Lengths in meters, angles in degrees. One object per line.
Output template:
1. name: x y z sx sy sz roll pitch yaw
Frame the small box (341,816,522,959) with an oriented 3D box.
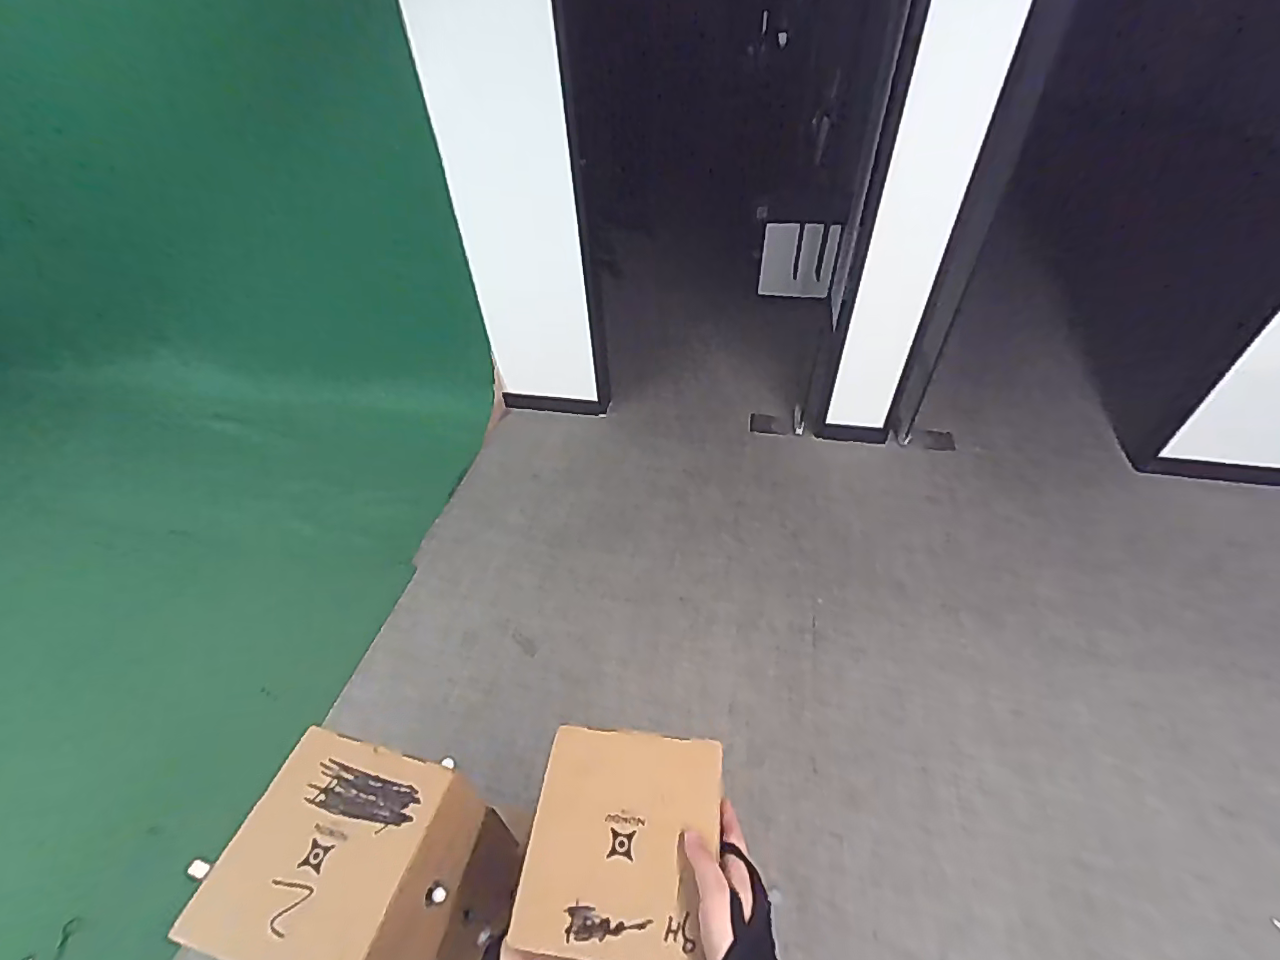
1. small box: -0.272 0.612 0.762 0.168 0.176 0.179 9 46 10

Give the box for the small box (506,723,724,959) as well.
1. small box: -0.006 0.365 0.523 0.168 0.176 0.179 1 44 10
